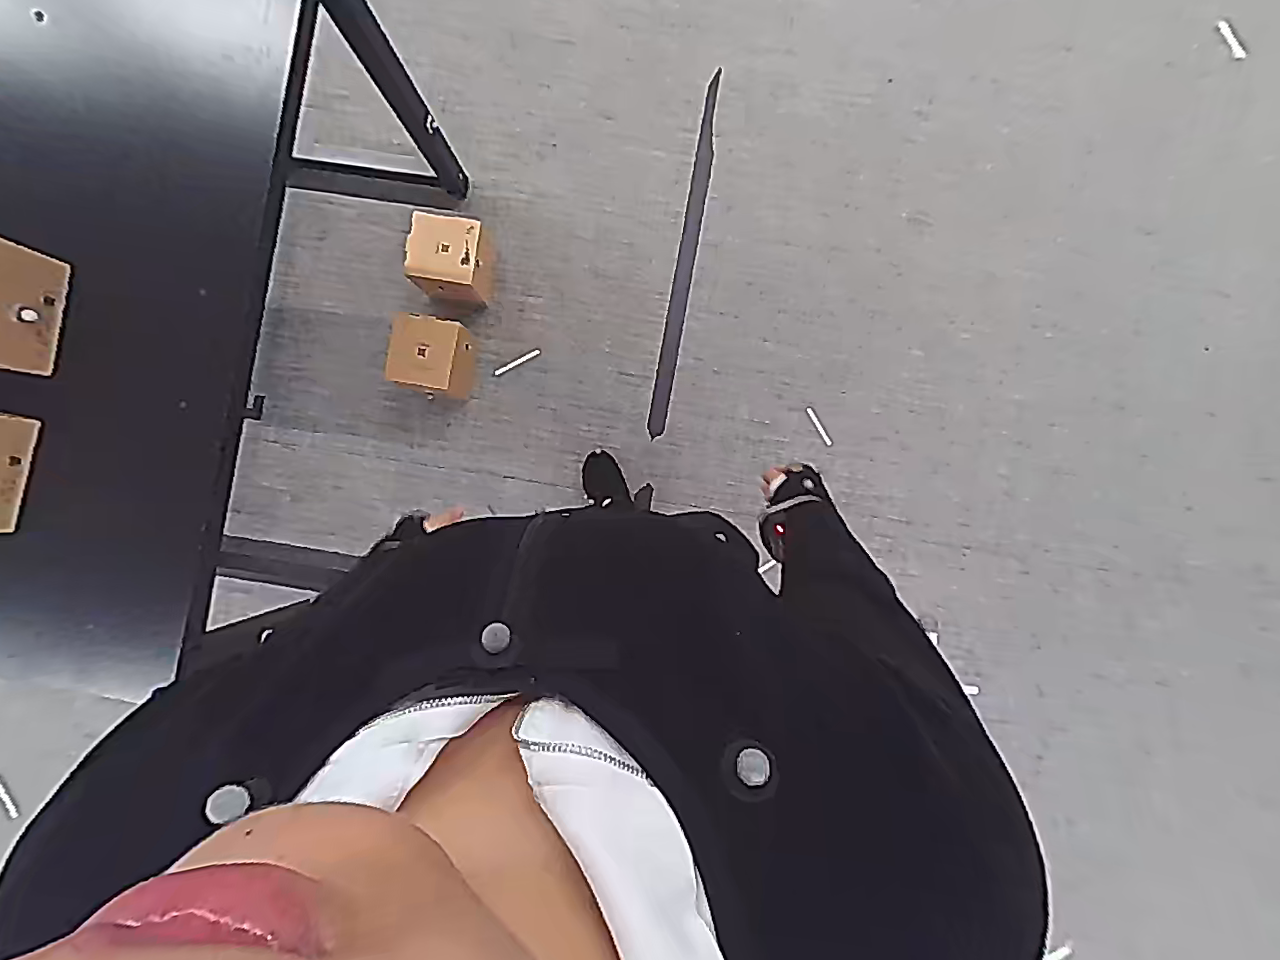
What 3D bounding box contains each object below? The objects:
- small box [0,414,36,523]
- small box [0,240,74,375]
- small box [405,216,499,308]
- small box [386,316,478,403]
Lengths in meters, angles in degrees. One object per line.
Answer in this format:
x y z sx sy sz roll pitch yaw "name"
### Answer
-0.965 -0.024 0.699 0.179 0.176 0.168 13 88 1 "small box"
-0.922 -0.244 0.705 0.179 0.176 0.168 9 89 0 "small box"
-0.494 -0.571 1.439 0.179 0.176 0.168 9 89 1 "small box"
-0.543 -0.312 1.435 0.168 0.176 0.179 9 89 1 "small box"
